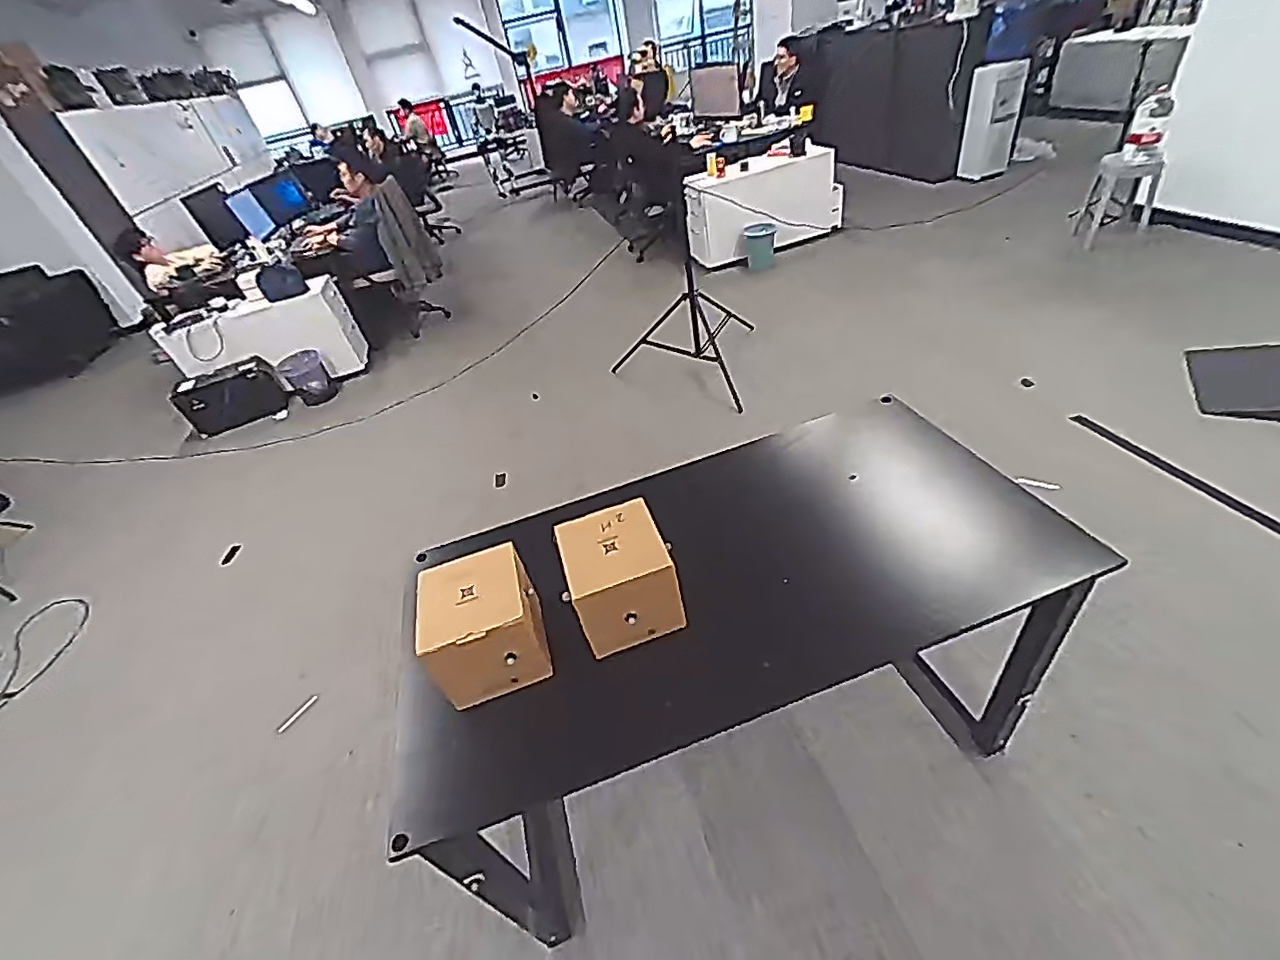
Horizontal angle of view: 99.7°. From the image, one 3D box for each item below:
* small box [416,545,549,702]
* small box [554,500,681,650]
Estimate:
[{"bbox_3d":[-0.263,0.247,0.916,0.168,0.176,0.179,-18,38,-8],"label":"small box"},{"bbox_3d":[-0.037,0.170,0.940,0.168,0.176,0.179,-18,39,-7],"label":"small box"}]
